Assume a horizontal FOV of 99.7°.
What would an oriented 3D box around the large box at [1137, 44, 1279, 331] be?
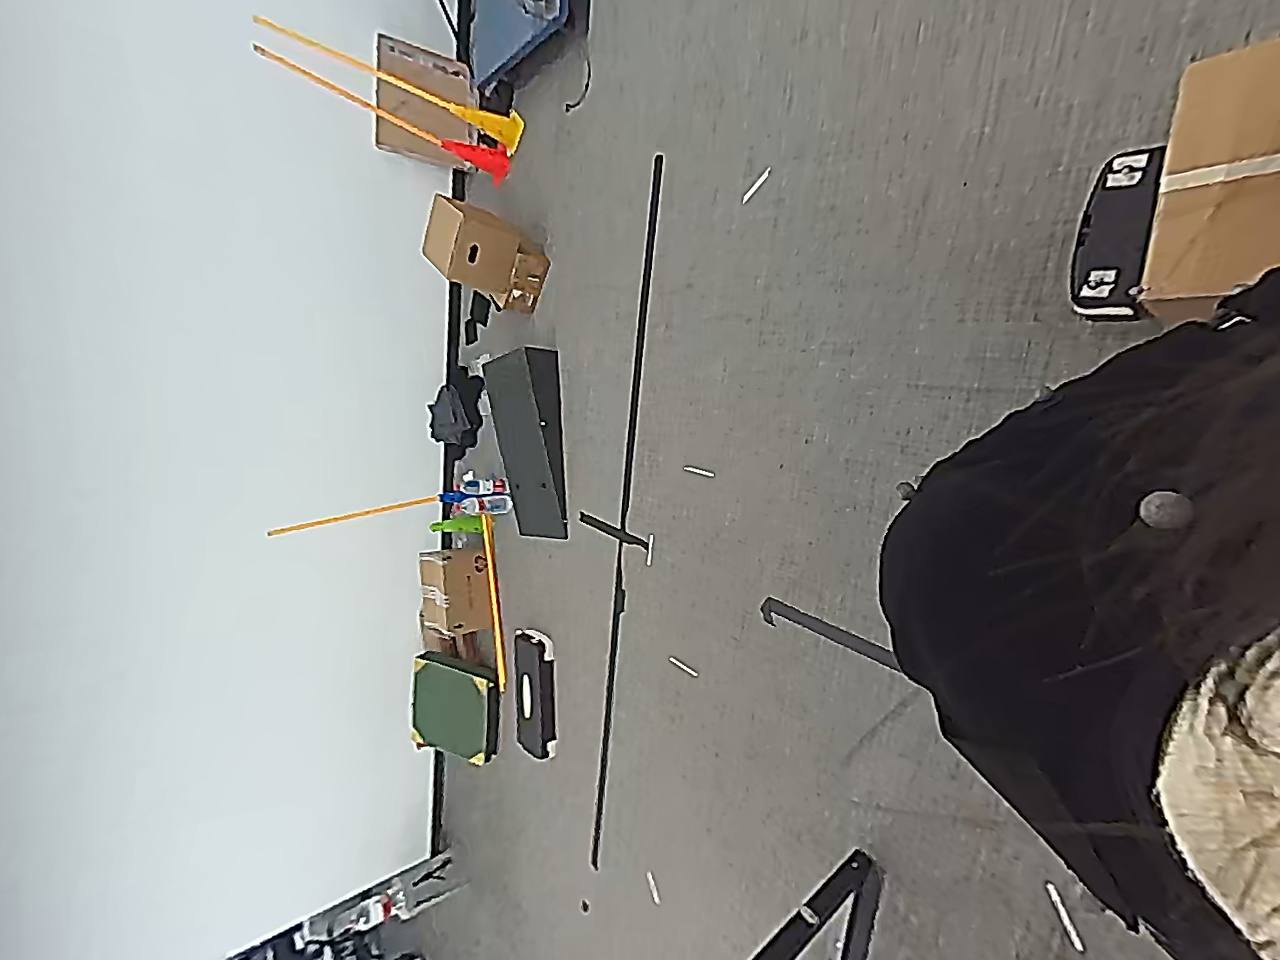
[{"bbox_3d":[0.964,-0.377,0.700,0.408,0.320,0.320,14,102,49],"label":"large box"}]
